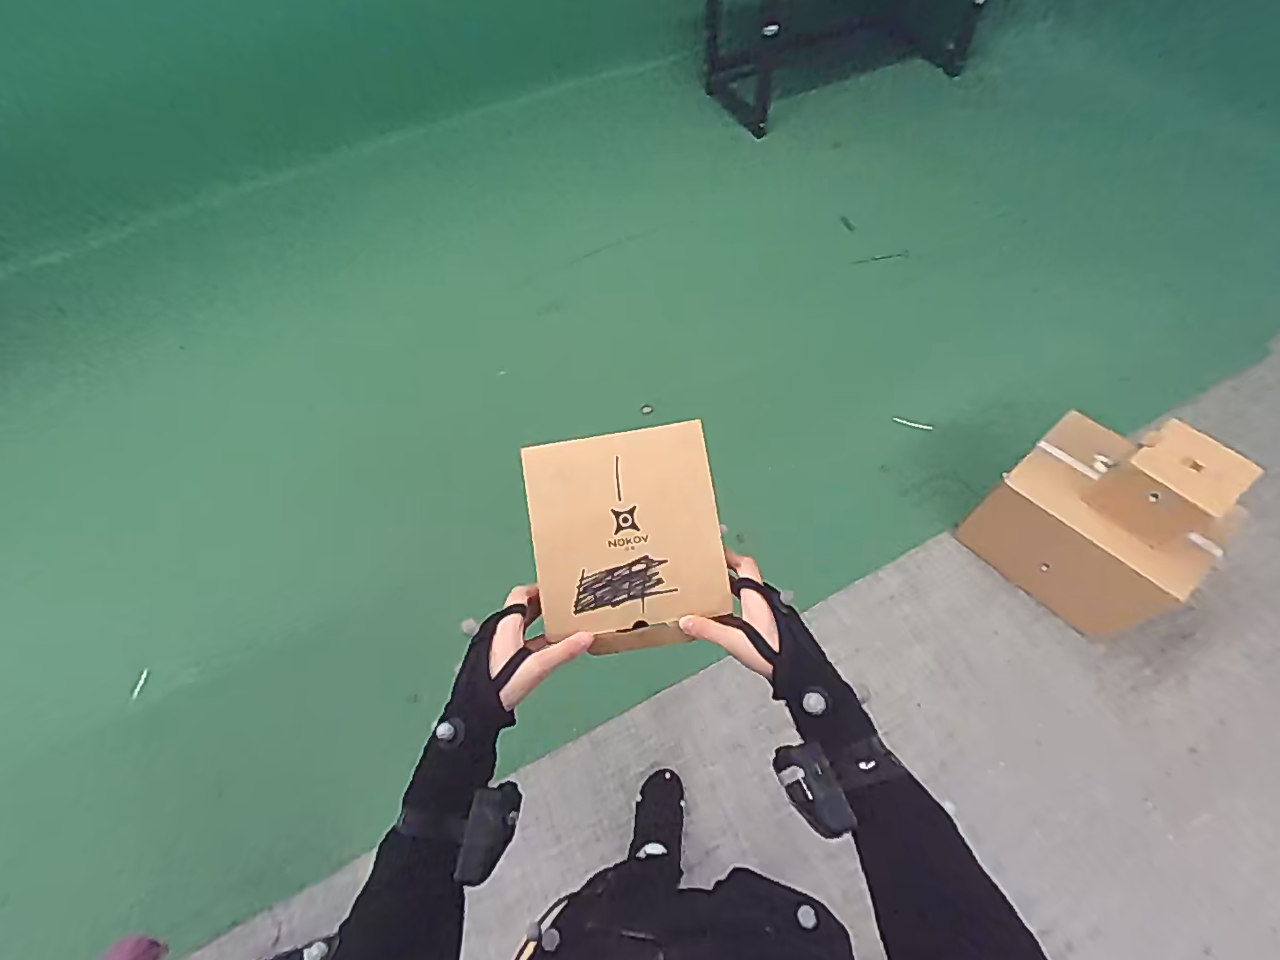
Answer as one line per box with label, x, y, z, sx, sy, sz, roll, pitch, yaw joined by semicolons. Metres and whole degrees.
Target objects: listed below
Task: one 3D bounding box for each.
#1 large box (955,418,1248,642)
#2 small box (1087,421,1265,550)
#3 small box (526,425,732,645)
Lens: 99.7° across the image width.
large box;1.114;0.127;1.359;0.320;0.320;0.408;-38;61;-17
small box;1.109;0.016;1.138;0.168;0.176;0.179;-36;62;-13
small box;-0.008;0.056;0.553;0.168;0.176;0.179;-9;82;0
